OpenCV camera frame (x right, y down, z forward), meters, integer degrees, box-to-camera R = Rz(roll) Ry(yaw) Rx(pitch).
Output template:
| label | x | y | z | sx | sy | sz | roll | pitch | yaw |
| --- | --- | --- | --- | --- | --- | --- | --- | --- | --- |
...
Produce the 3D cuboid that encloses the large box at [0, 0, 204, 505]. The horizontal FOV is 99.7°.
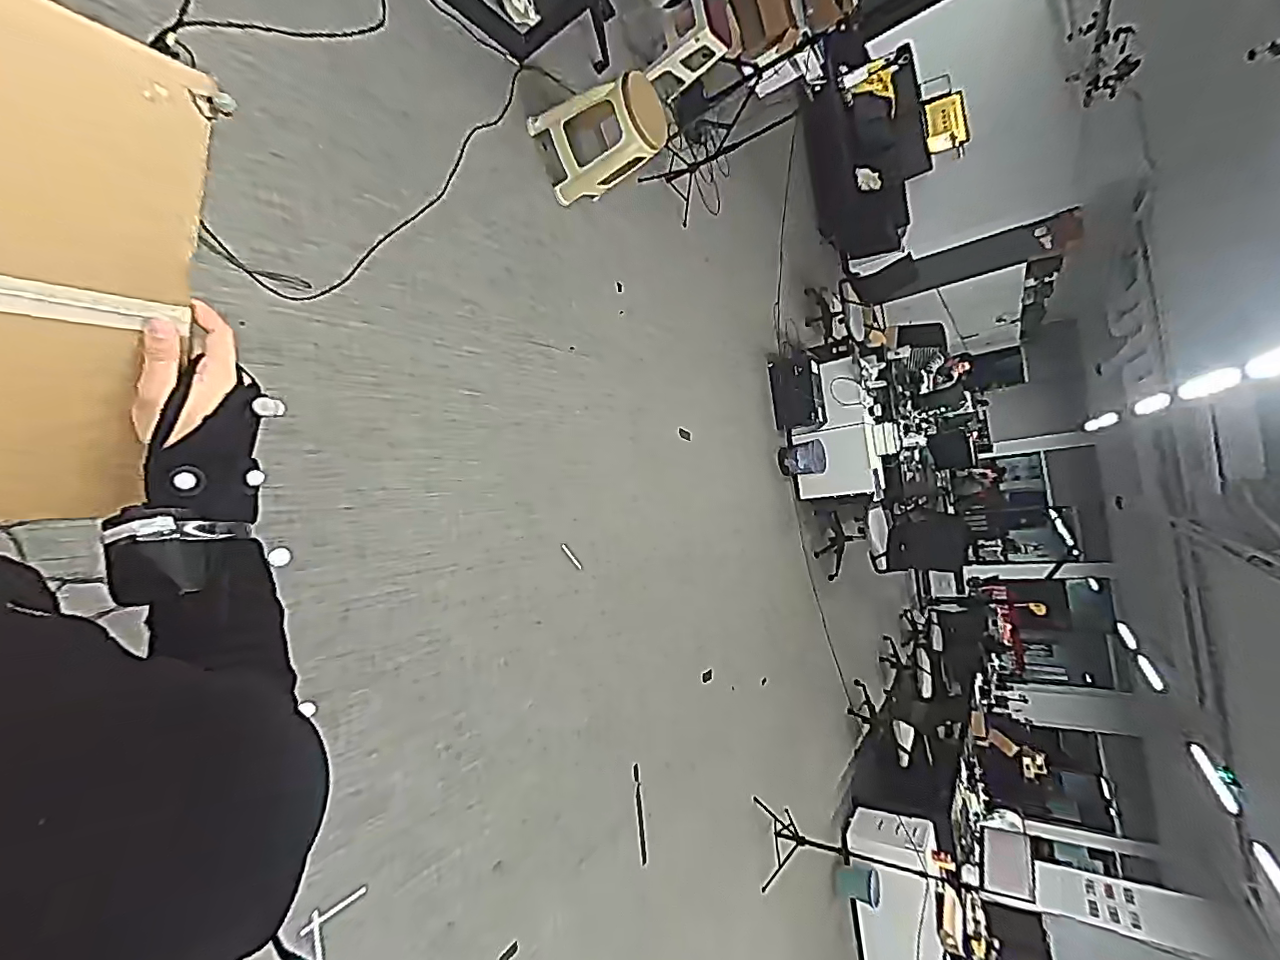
| label | x | y | z | sx | sy | sz | roll | pitch | yaw |
| --- | --- | --- | --- | --- | --- | --- | --- | --- | --- |
| large box | -0.560 | -0.180 | 0.309 | 0.408 | 0.320 | 0.320 | -4 | 122 | -55 |
